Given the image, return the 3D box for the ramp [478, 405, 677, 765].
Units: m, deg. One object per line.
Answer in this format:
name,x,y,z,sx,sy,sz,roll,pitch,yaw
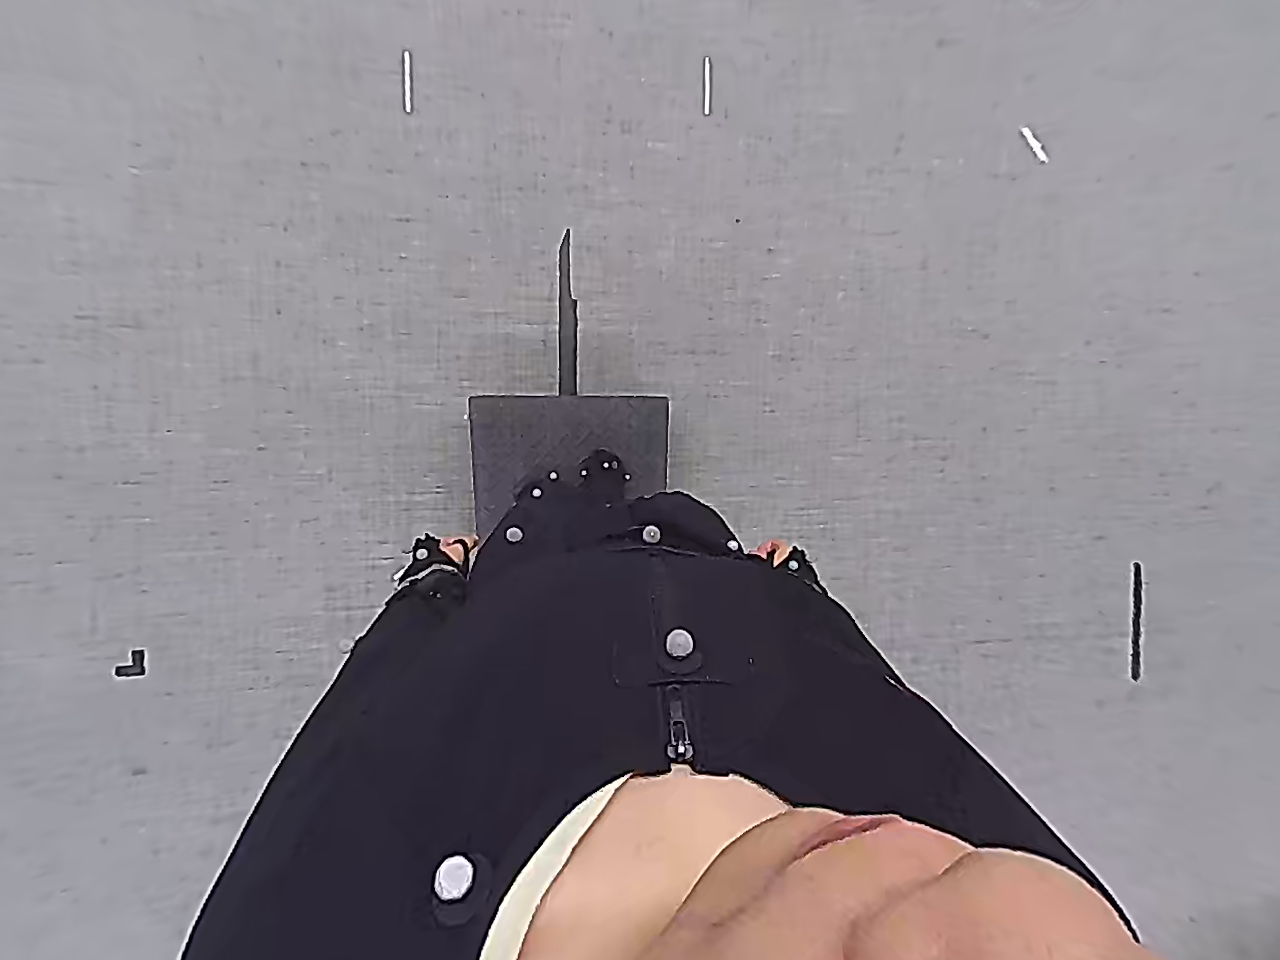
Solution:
ramp,-0.147,0.303,1.437,0.509,0.206,0.991,-3,93,-7
